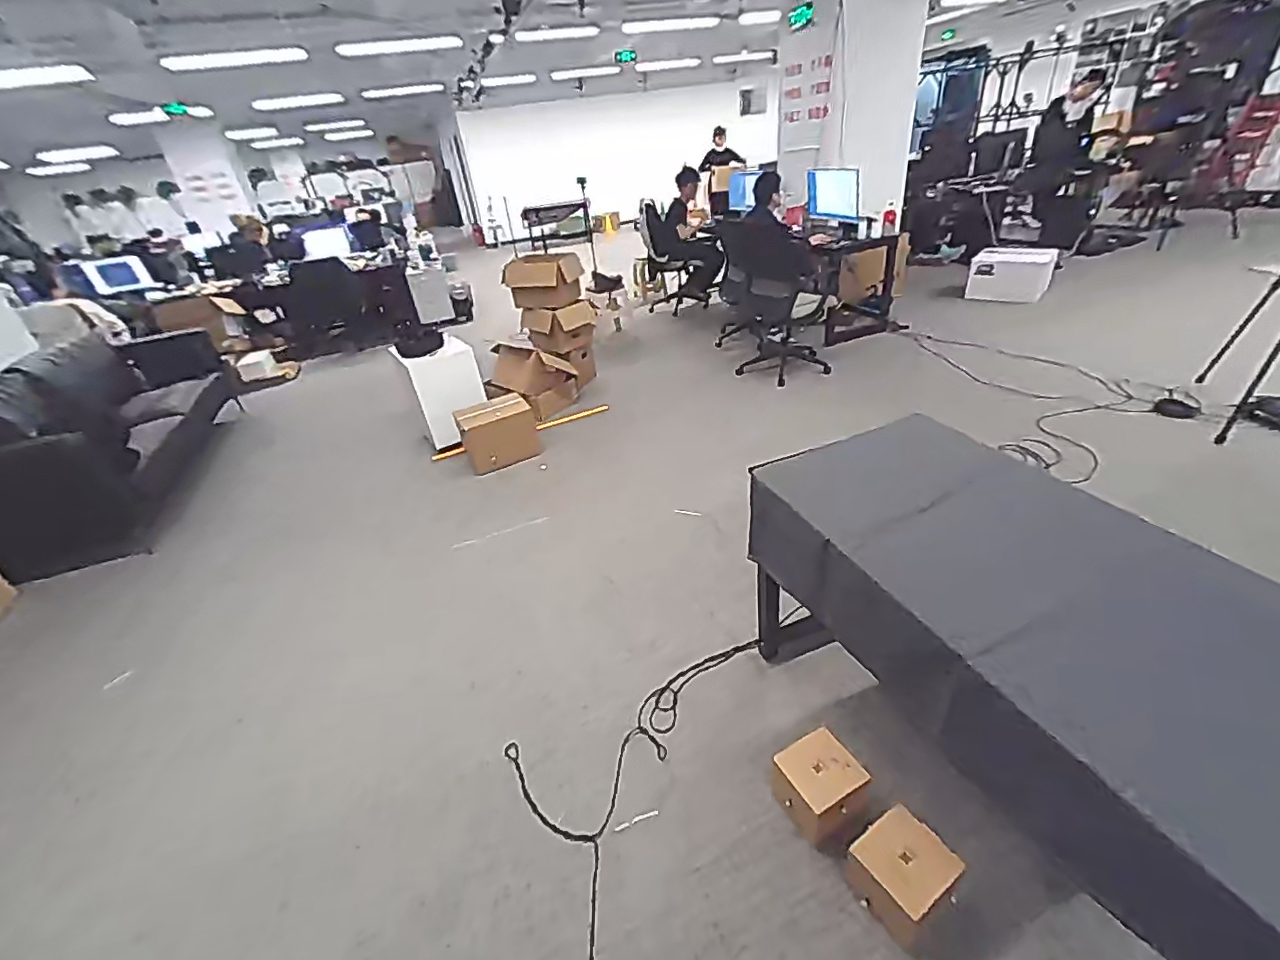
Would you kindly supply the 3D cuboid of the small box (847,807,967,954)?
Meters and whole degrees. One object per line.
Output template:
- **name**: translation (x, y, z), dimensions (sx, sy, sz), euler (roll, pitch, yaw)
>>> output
- **small box**: translation (0.580, 0.883, 1.198), dimensions (0.179, 0.176, 0.168), euler (-23, 34, -24)
